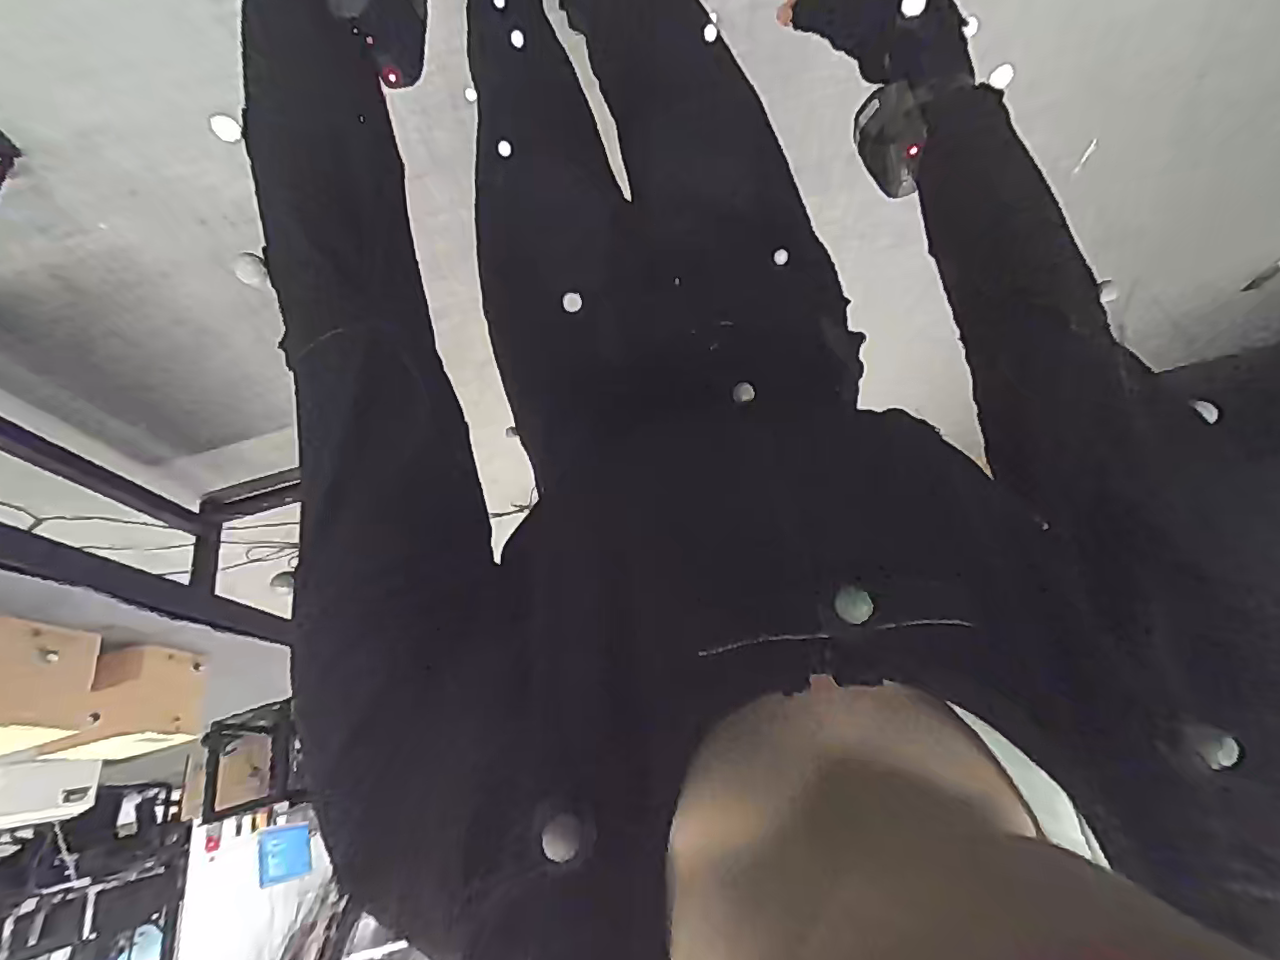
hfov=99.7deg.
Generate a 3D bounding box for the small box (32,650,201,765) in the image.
[{"bbox_3d":[-1.014,0.448,1.069,0.179,0.176,0.168,-14,152,-3],"label":"small box"}]

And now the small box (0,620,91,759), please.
[{"bbox_3d":[-1.038,0.338,0.854,0.179,0.176,0.168,-16,153,-1],"label":"small box"}]
